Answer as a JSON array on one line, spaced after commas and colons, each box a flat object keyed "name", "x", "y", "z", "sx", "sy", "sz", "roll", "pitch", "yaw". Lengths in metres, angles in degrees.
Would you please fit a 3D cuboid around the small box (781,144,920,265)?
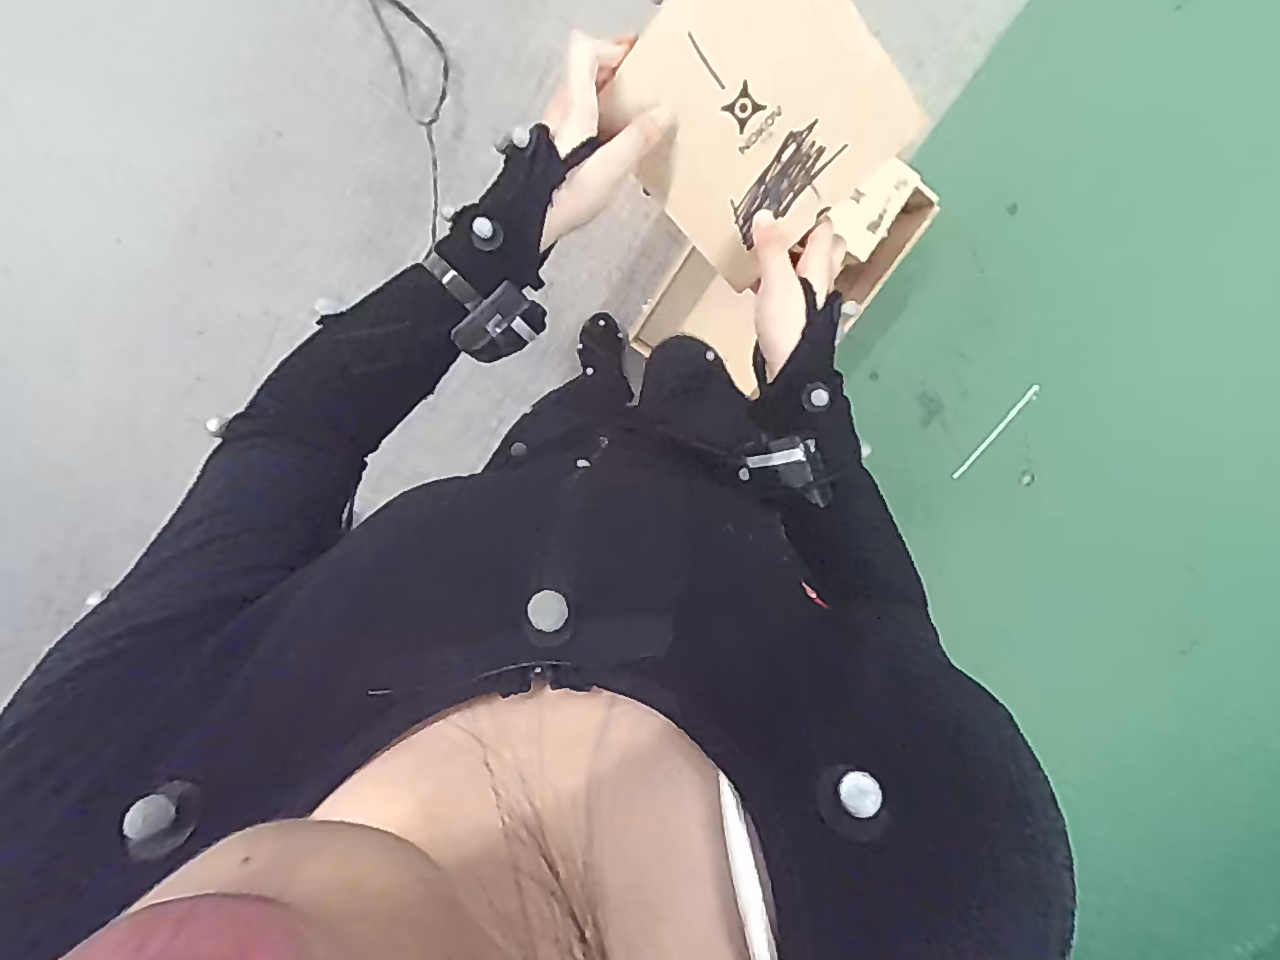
[{"name": "small box", "x": 0.376, "y": -0.527, "z": 1.026, "sx": 0.179, "sy": 0.176, "sz": 0.168, "roll": 30, "pitch": 105, "yaw": -9}]

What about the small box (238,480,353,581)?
[{"name": "small box", "x": -0.913, "y": 0.129, "z": 1.450, "sx": 0.168, "sy": 0.176, "sz": 0.179, "roll": 37, "pitch": 104, "yaw": -13}]

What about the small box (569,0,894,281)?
[{"name": "small box", "x": 0.067, "y": -0.308, "z": 0.443, "sx": 0.179, "sy": 0.176, "sz": 0.168, "roll": 36, "pitch": 122, "yaw": -26}]
